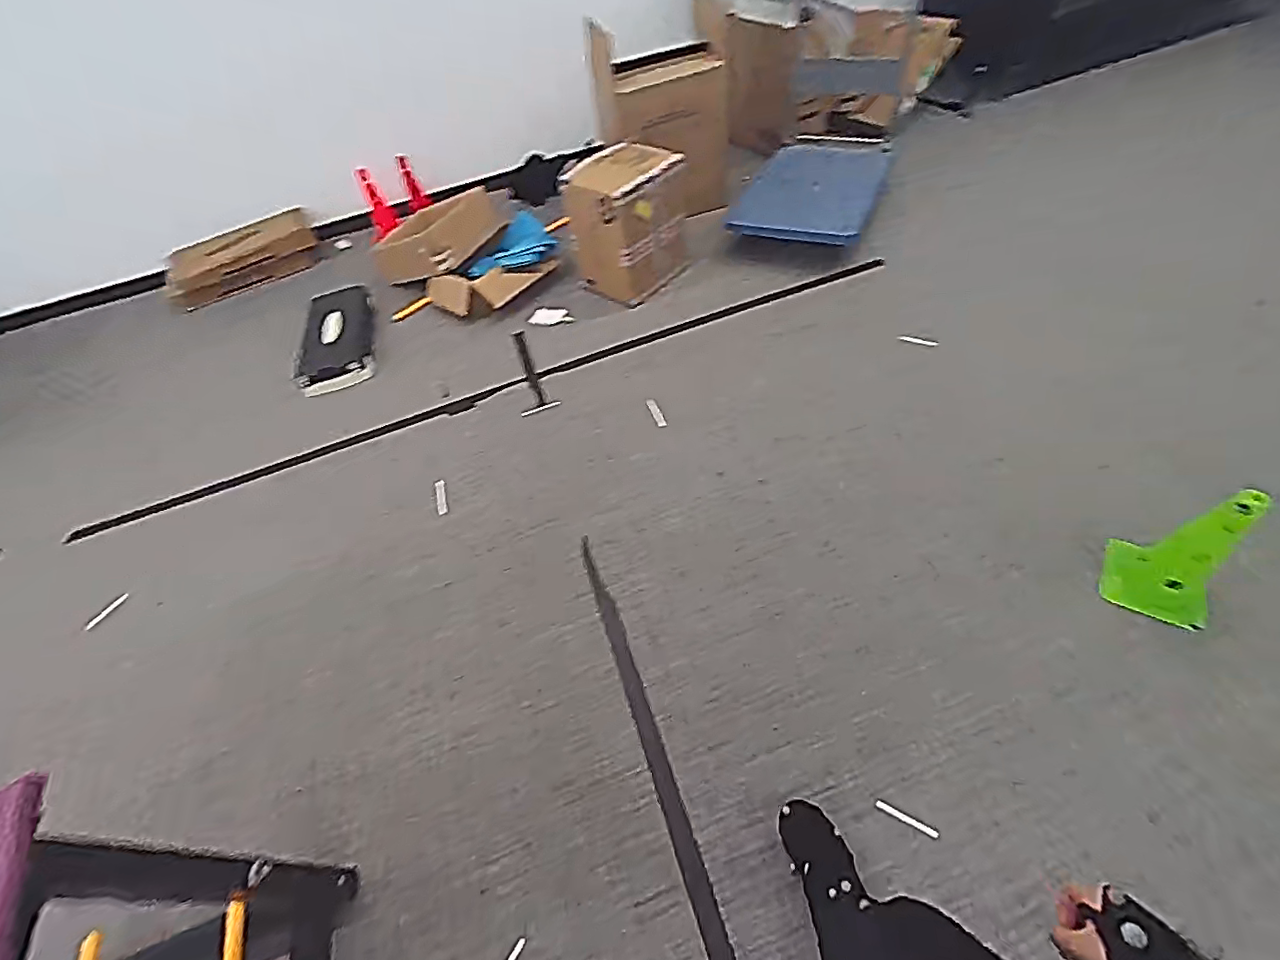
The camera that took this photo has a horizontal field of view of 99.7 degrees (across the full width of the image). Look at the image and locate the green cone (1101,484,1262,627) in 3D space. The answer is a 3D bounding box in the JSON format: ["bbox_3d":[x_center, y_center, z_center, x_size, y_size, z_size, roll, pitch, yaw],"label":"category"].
[{"bbox_3d":[1.246,0.137,1.209,0.202,0.368,0.200,20,56,25],"label":"green cone"}]
